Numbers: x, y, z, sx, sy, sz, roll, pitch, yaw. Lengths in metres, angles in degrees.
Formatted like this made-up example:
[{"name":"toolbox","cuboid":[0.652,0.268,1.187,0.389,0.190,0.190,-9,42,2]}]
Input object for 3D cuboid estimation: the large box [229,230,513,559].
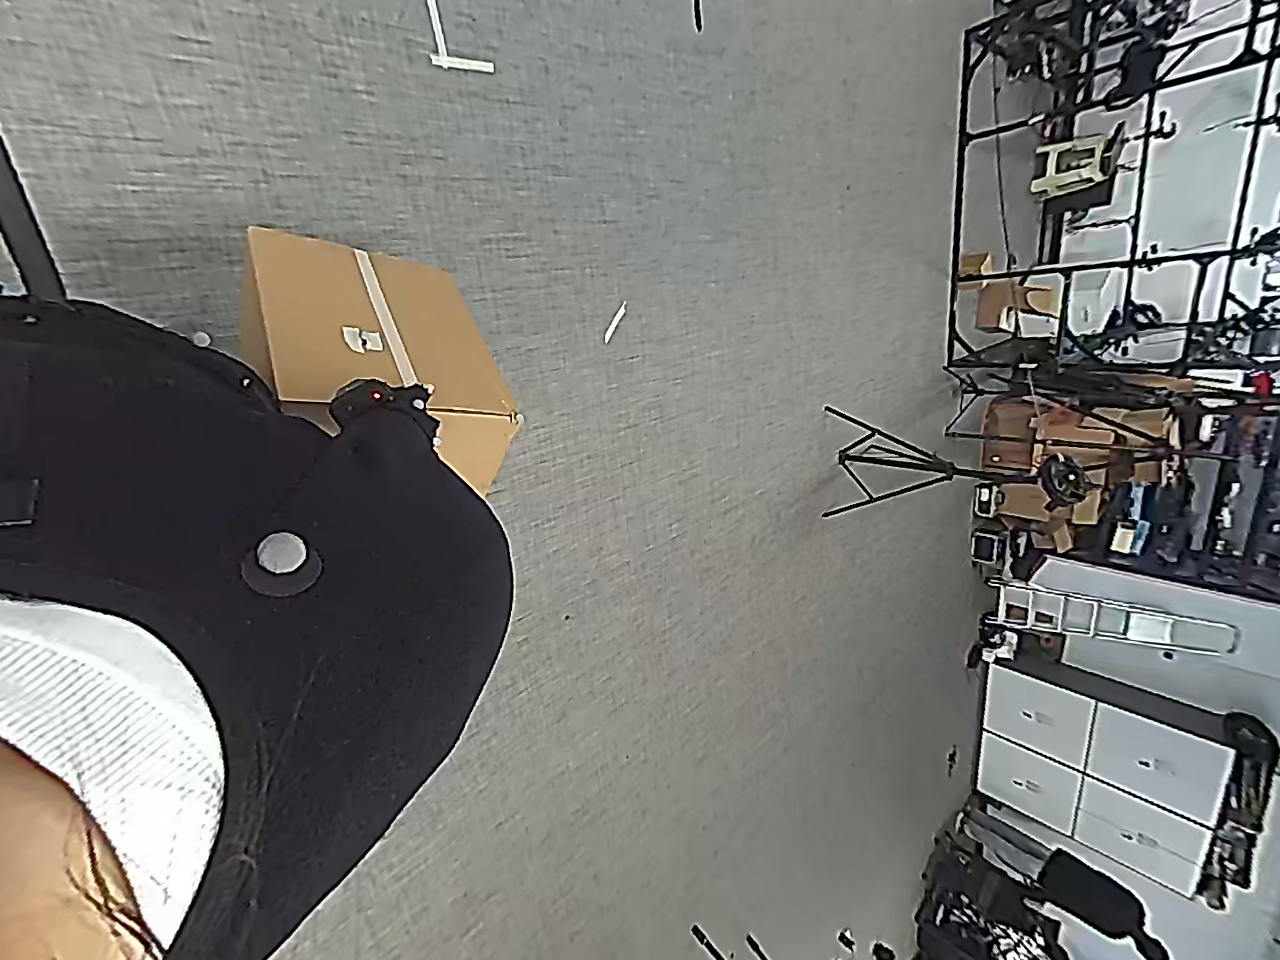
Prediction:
[{"name":"large box","cuboid":[-0.467,-0.131,0.897,0.320,0.408,0.320,-2,140,-40]}]
